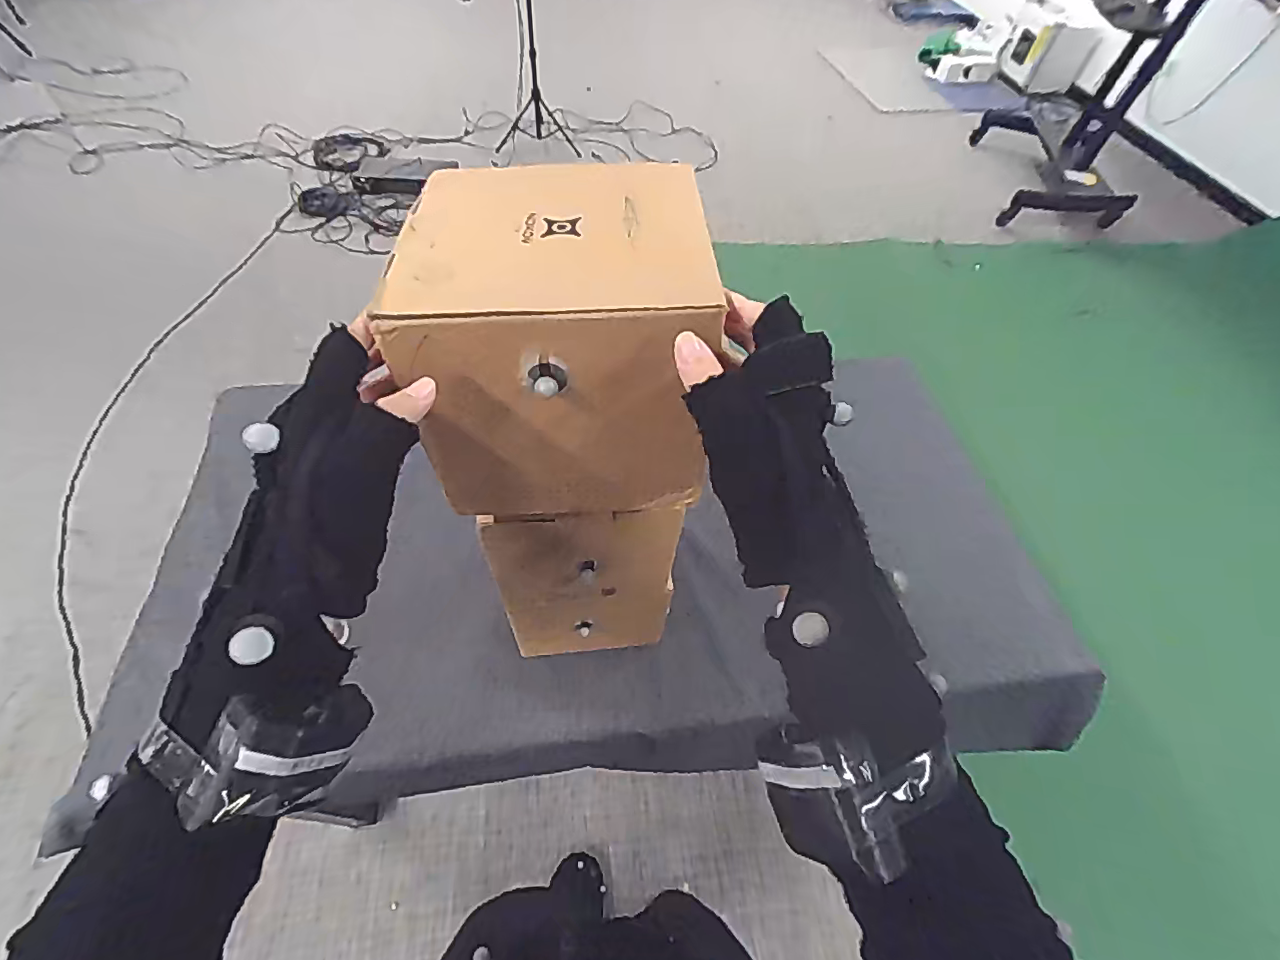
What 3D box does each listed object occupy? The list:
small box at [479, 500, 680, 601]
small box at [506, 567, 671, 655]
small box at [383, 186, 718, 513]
[{"bbox_3d":[-0.061,0.011,0.544,0.168,0.176,0.179,-5,55,-8],"label":"small box"},{"bbox_3d":[-0.067,0.107,0.676,0.179,0.176,0.168,-4,54,-7],"label":"small box"},{"bbox_3d":[-0.049,-0.088,0.387,0.179,0.176,0.168,-1,51,-3],"label":"small box"}]
